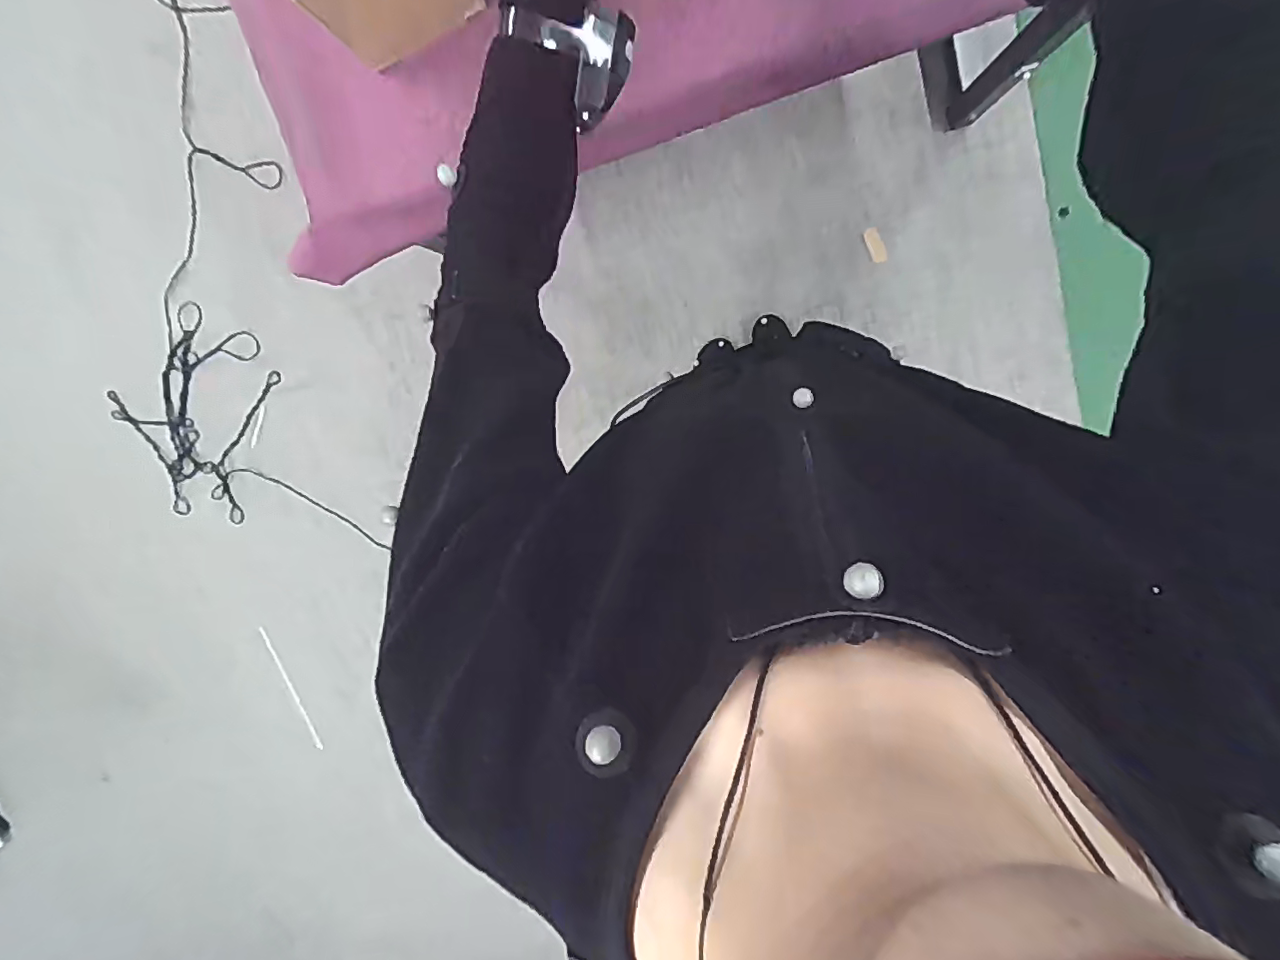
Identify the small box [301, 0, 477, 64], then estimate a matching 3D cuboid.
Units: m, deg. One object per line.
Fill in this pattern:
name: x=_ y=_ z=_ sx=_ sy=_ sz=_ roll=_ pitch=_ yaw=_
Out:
small box: x=-0.308 y=-0.615 z=0.596 sx=0.179 sy=0.176 sz=0.168 roll=-20 pitch=100 yaw=11
